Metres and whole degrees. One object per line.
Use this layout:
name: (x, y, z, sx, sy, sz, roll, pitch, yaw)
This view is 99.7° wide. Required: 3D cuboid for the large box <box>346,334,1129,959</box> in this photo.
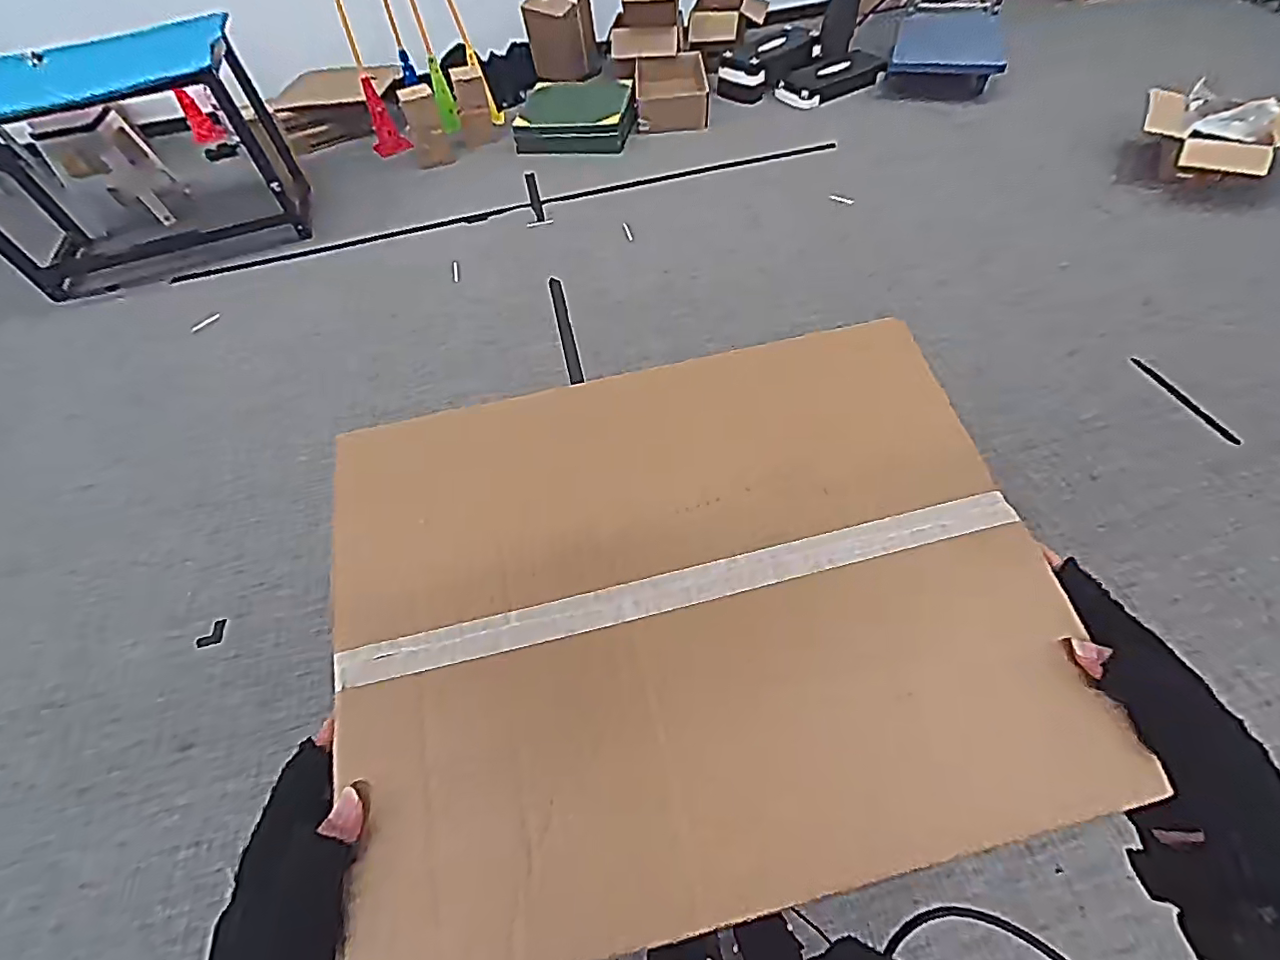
large box: (0.034, 0.133, 0.458, 0.408, 0.320, 0.320, -13, 65, -4)
